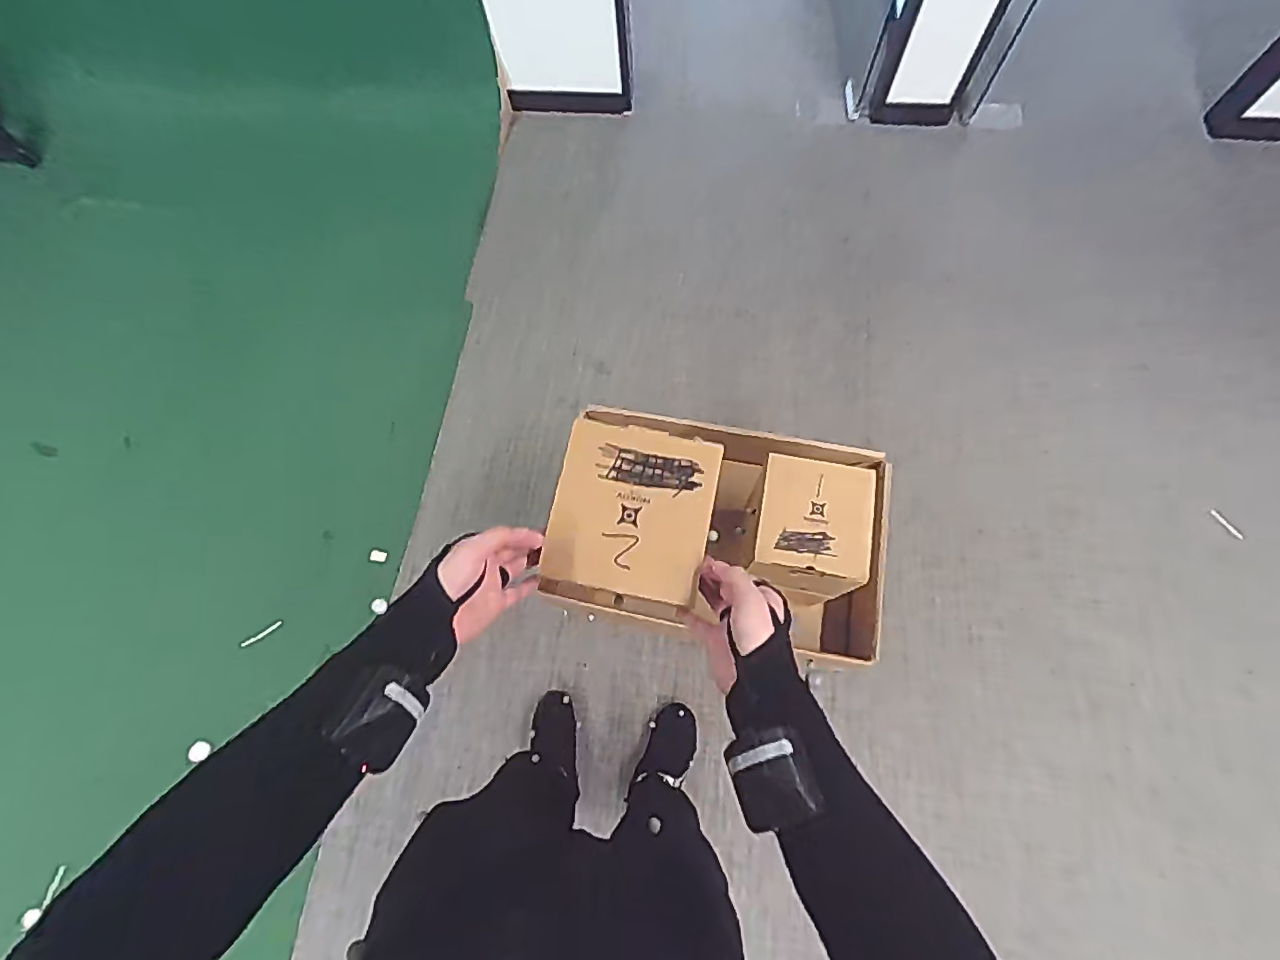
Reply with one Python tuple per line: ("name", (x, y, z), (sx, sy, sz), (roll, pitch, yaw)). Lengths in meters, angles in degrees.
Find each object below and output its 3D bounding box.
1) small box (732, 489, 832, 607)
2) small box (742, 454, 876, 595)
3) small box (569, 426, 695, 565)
("small box", (0.273, 0.136, 1.033), (0.168, 0.176, 0.179), (11, 72, 7))
("small box", (0.265, 0.081, 0.878), (0.168, 0.176, 0.179), (11, 71, 7))
("small box", (-0.006, 0.034, 0.909), (0.168, 0.176, 0.179), (12, 72, 7))
